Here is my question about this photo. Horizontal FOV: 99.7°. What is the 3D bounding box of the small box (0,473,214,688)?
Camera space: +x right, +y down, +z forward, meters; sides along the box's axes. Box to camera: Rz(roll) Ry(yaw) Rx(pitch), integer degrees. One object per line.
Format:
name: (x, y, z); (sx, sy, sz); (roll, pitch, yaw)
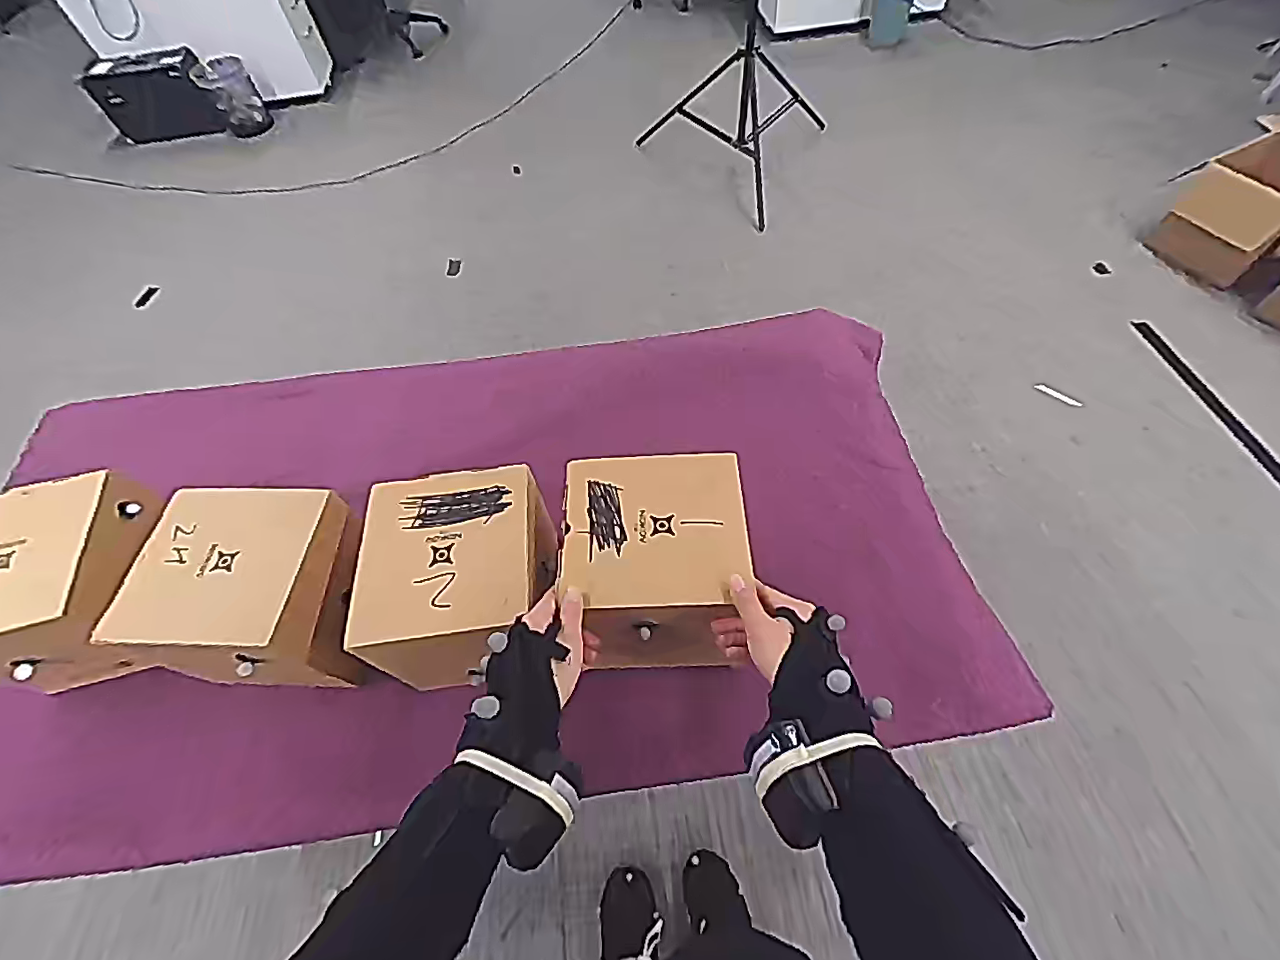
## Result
small box: (-0.635, 0.124, 0.618); (0.168, 0.176, 0.179); (-15, 58, -5)
